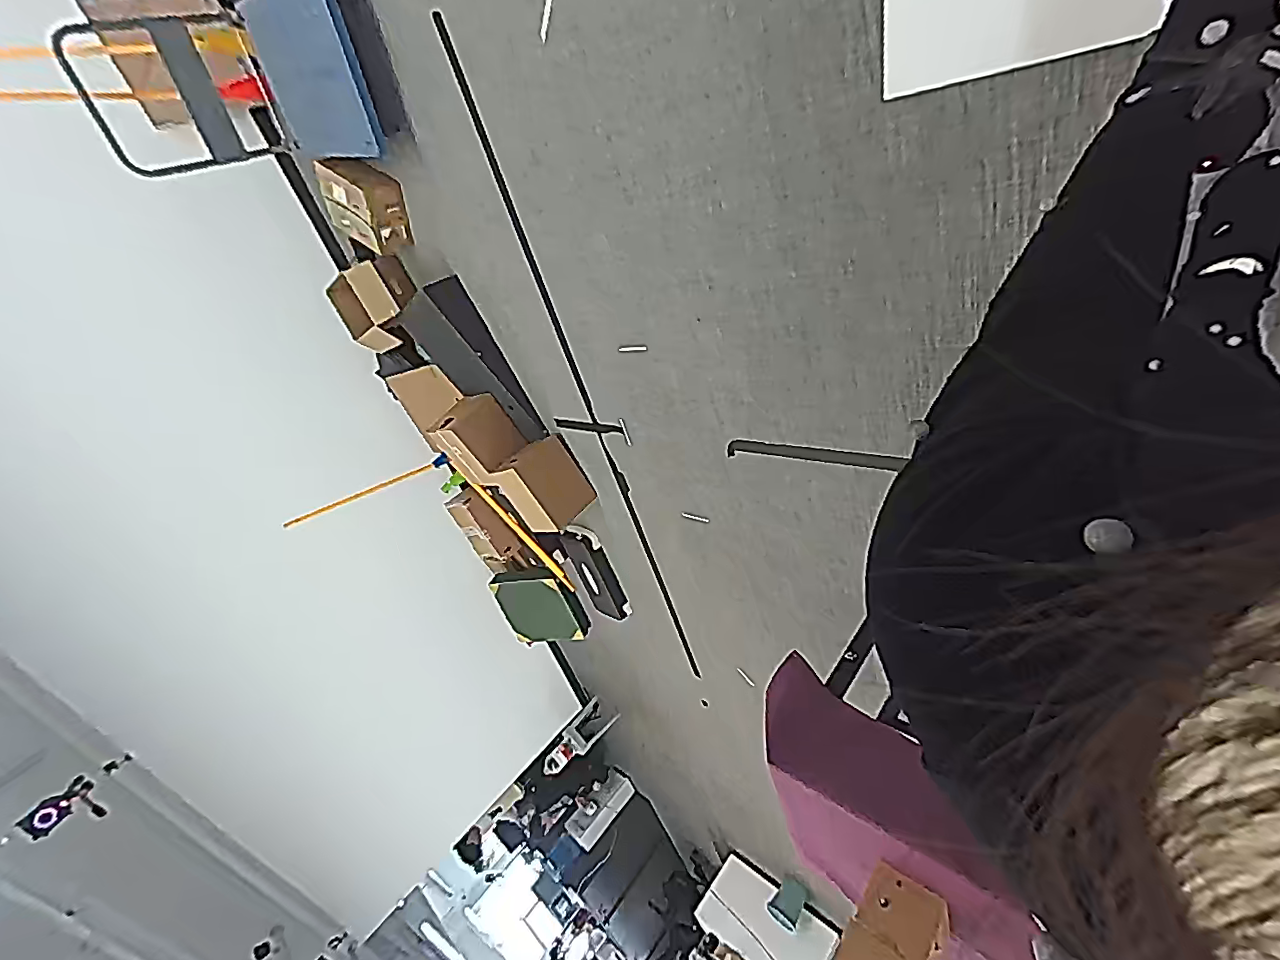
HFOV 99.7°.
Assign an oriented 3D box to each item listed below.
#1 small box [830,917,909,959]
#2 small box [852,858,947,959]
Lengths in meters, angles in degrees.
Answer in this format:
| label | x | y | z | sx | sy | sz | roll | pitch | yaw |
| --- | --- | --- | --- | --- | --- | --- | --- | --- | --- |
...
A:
| label | x | y | z | sx | sy | sz | roll | pitch | yaw |
| --- | --- | --- | --- | --- | --- | --- | --- | --- | --- |
| small box | 0.549 | 1.196 | 1.273 | 0.179 | 0.176 | 0.168 | 11 | 131 | 46 |
| small box | 0.656 | 1.110 | 1.362 | 0.168 | 0.176 | 0.179 | 12 | 132 | 45 |
